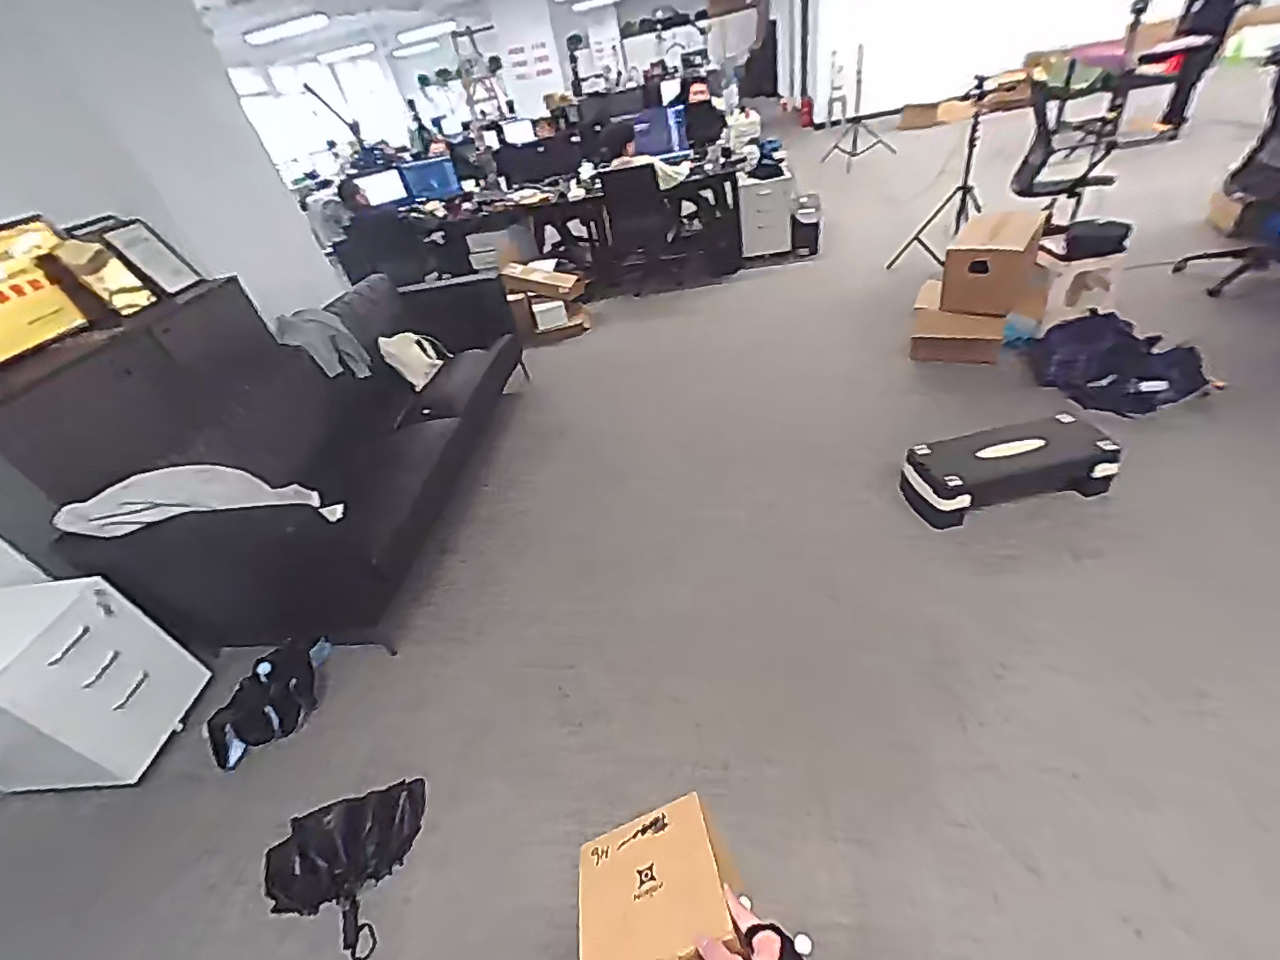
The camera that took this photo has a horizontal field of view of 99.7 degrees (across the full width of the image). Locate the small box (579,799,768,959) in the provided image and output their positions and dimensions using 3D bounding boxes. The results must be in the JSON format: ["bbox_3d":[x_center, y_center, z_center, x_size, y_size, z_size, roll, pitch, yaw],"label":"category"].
[{"bbox_3d":[0.042,0.521,0.611,0.168,0.176,0.179,-26,15,1],"label":"small box"}]
